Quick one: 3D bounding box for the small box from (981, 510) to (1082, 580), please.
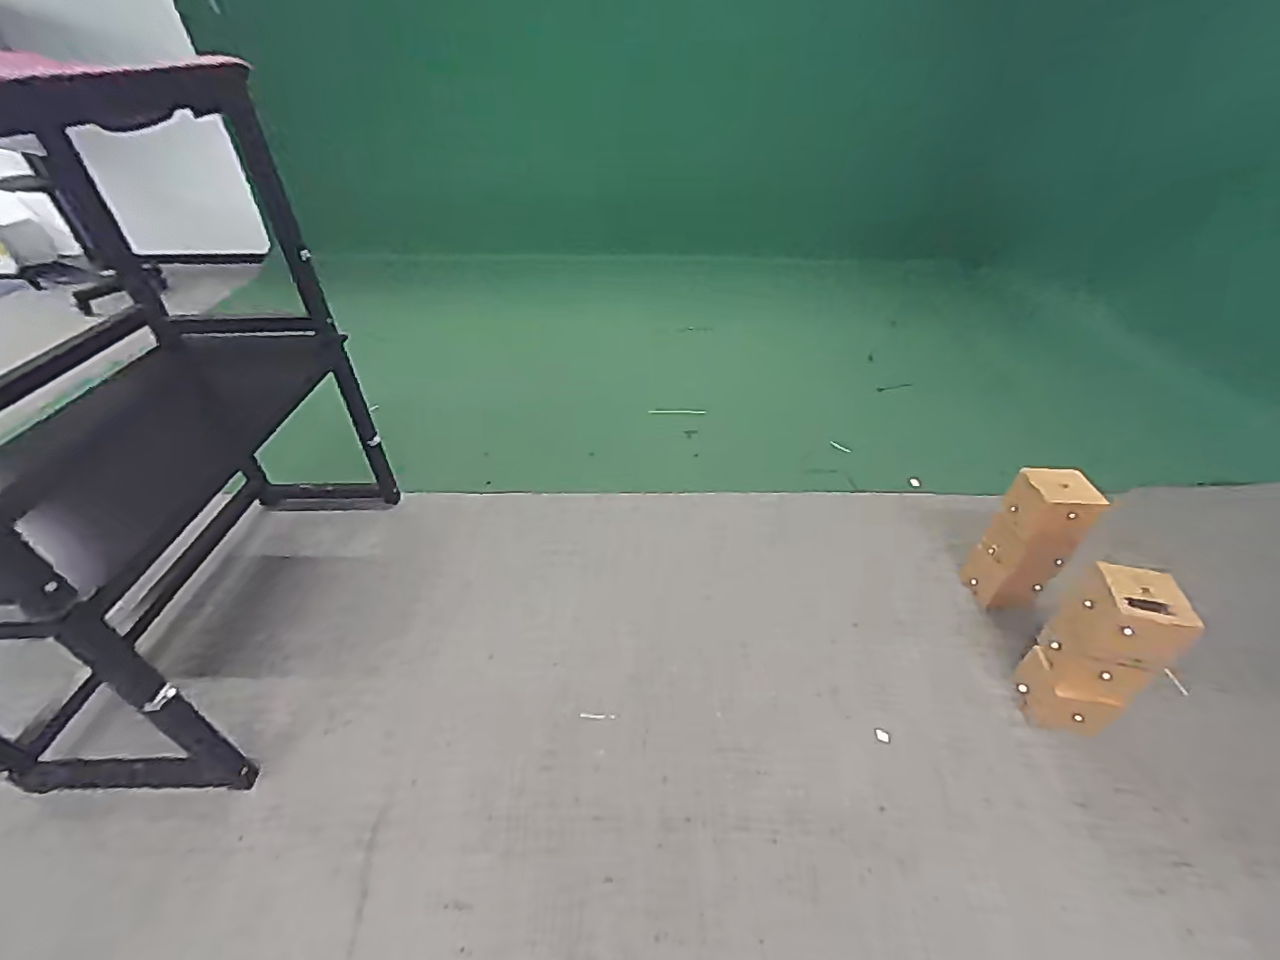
[{"bbox_3d":[1.262,0.208,1.758,0.179,0.176,0.168,-2,39,-3],"label":"small box"}]

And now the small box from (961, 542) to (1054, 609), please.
[{"bbox_3d":[1.256,0.330,1.864,0.179,0.176,0.168,-2,39,-3],"label":"small box"}]

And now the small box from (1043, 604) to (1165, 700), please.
[{"bbox_3d":[1.221,0.460,1.445,0.179,0.176,0.168,9,40,11],"label":"small box"}]

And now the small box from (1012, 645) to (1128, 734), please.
[{"bbox_3d":[1.207,0.598,1.534,0.179,0.176,0.168,6,39,8],"label":"small box"}]

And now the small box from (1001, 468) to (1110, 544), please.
[{"bbox_3d":[1.260,0.081,1.655,0.179,0.176,0.168,2,39,2],"label":"small box"}]
